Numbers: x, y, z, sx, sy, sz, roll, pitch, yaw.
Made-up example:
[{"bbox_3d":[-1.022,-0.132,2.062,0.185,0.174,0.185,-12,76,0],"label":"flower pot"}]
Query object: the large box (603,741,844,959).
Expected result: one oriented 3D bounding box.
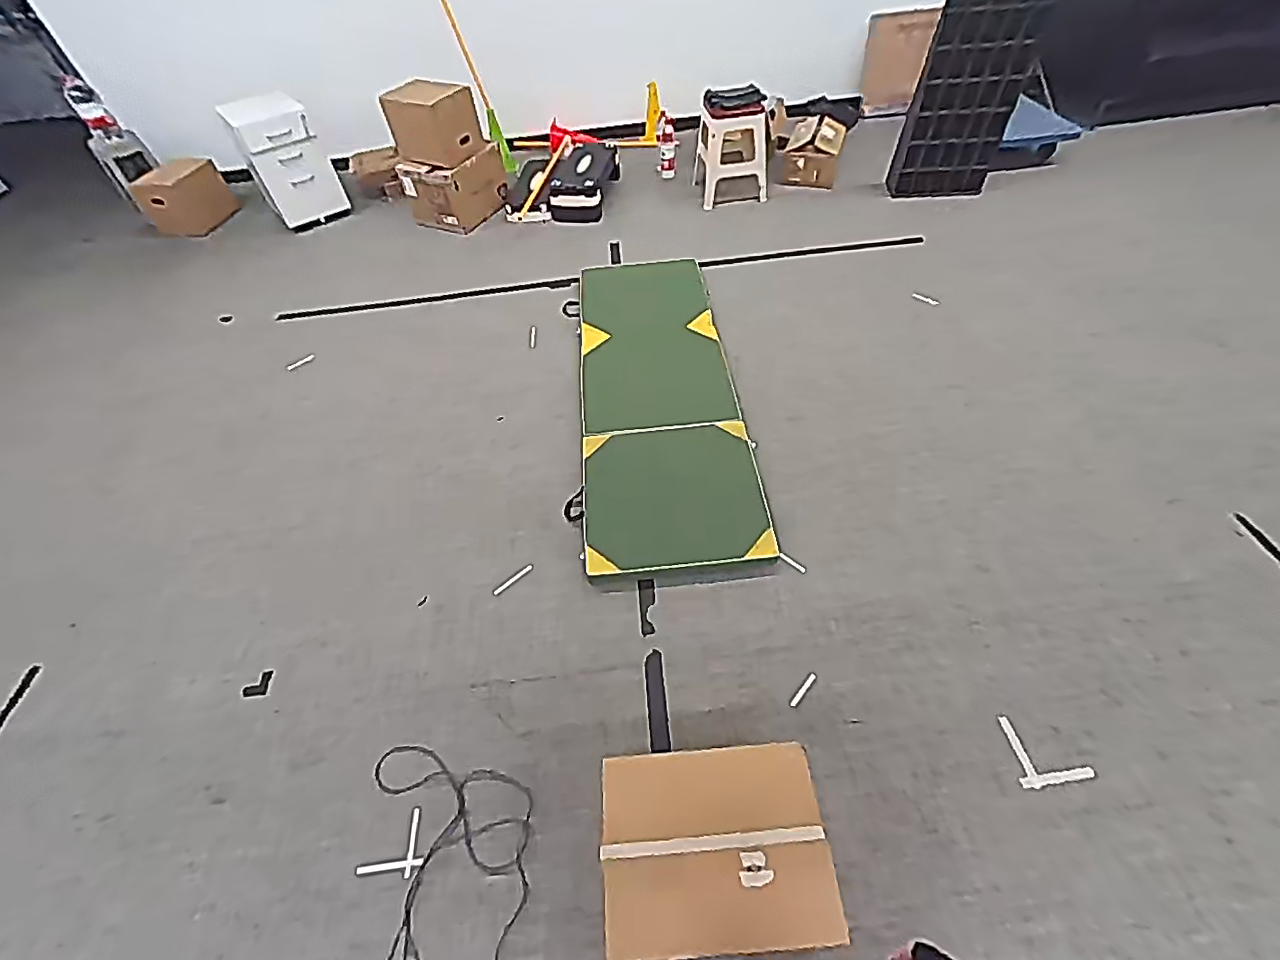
[{"bbox_3d":[0.142,0.762,1.108,0.408,0.320,0.320,-5,50,0],"label":"large box"}]
